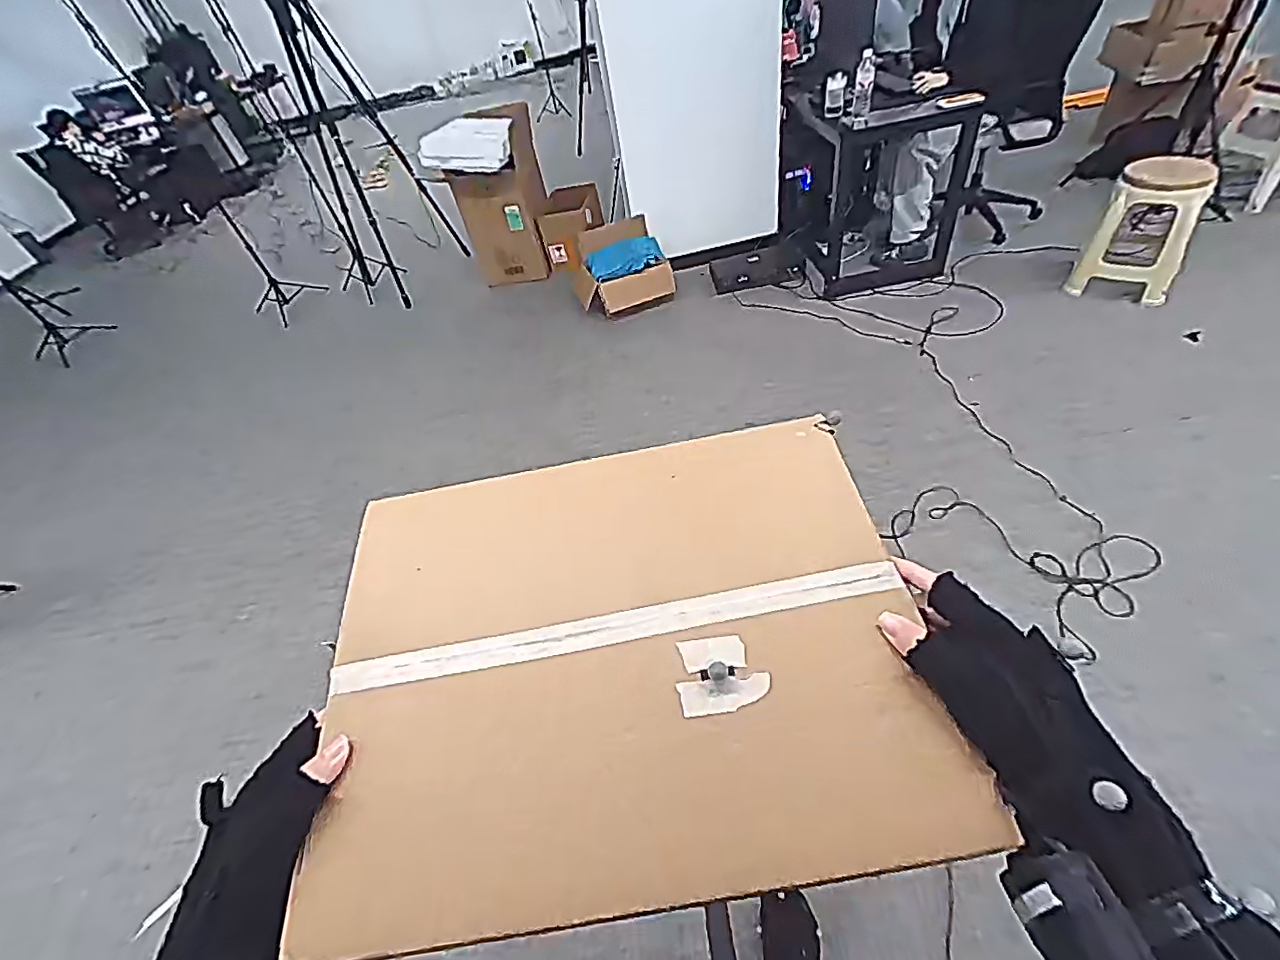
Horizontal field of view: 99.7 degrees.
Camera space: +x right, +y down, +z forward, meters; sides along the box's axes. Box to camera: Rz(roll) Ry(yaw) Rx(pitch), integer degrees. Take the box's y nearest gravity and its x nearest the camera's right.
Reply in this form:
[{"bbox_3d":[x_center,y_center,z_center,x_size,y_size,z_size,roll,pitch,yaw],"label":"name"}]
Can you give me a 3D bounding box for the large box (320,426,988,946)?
[{"bbox_3d":[0.003,0.196,0.517,0.408,0.320,0.320,-11,54,1],"label":"large box"}]
